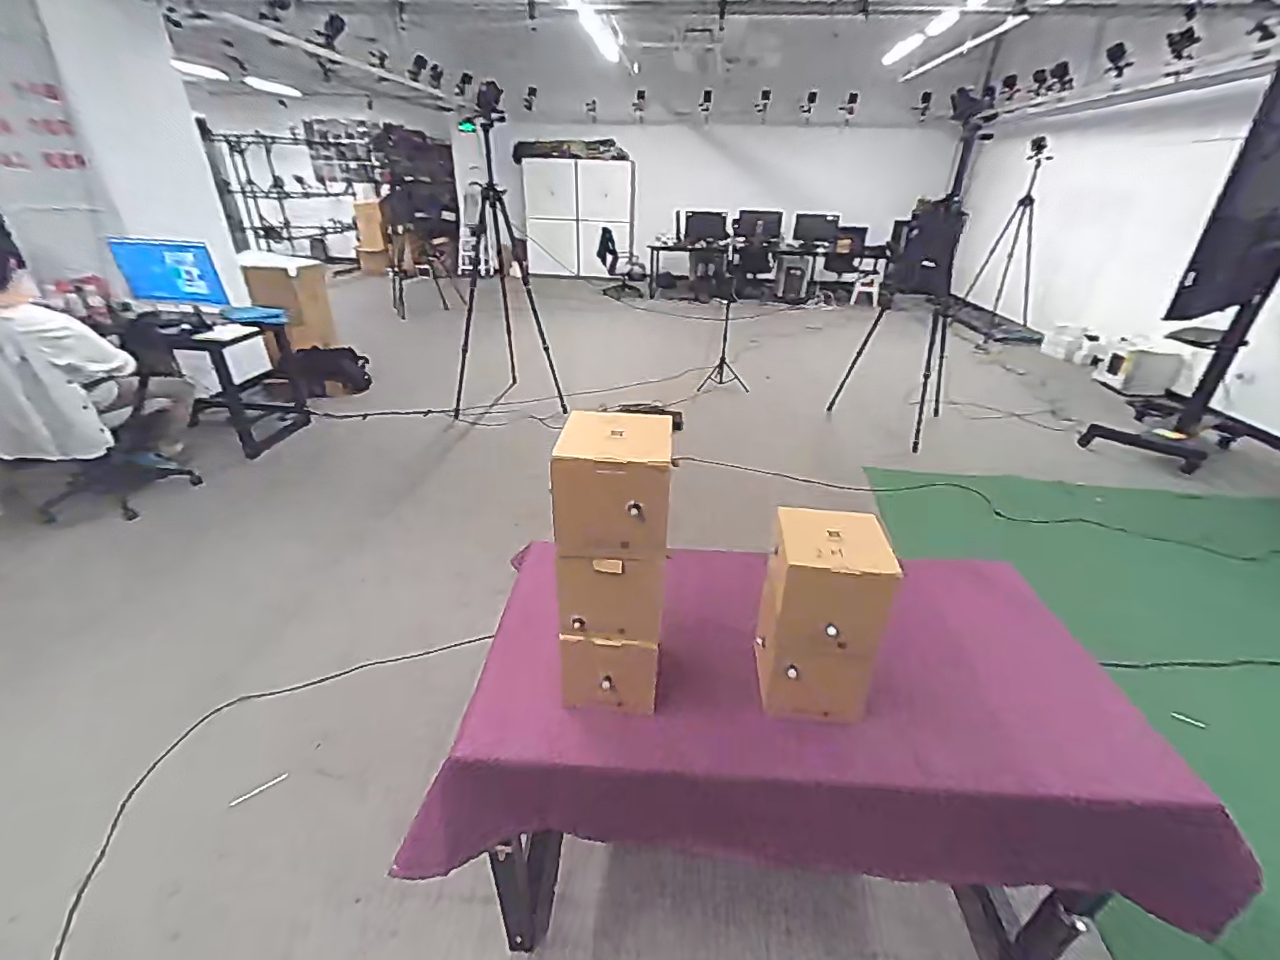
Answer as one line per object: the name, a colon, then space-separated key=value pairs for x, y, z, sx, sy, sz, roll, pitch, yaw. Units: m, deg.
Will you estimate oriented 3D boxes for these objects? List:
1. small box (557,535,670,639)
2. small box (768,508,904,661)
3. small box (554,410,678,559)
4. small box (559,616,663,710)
small box: x=-0.037 y=0.145 z=0.919 sx=0.168 sy=0.176 sz=0.179 roll=5 pitch=28 yaw=5
small box: x=0.312 y=0.169 z=0.902 sx=0.168 sy=0.176 sz=0.179 roll=5 pitch=29 yaw=6
small box: x=-0.031 y=0.005 z=0.837 sx=0.168 sy=0.176 sz=0.179 roll=5 pitch=29 yaw=3
small box: x=-0.046 y=0.293 z=0.993 sx=0.168 sy=0.176 sz=0.179 roll=5 pitch=30 yaw=4
